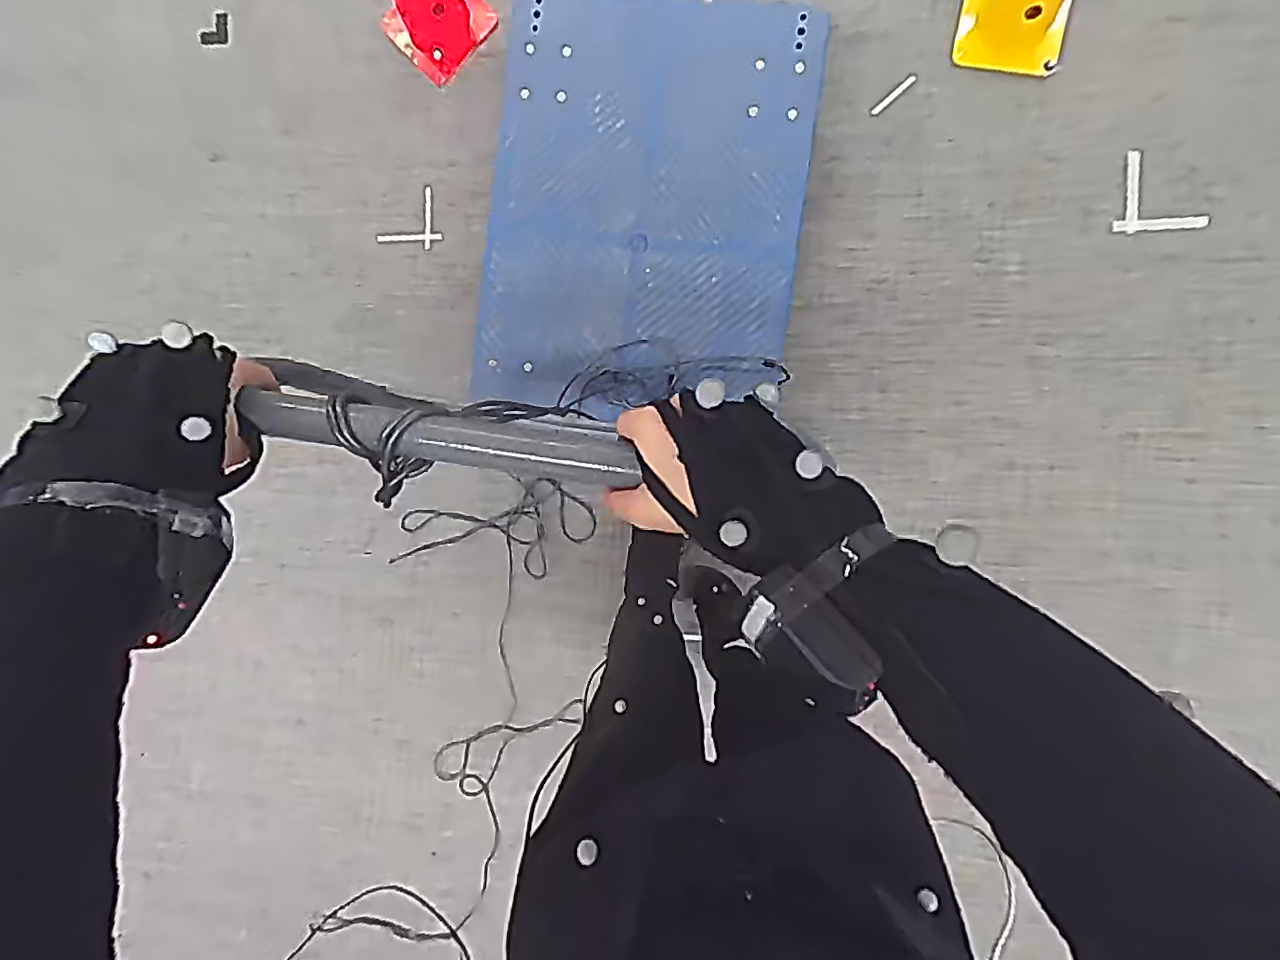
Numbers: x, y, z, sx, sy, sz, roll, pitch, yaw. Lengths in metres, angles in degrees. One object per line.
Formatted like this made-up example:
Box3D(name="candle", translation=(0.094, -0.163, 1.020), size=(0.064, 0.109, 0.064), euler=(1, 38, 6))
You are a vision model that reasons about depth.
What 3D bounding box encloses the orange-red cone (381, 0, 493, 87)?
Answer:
Box3D(name="orange-red cone", translation=(-0.457, -0.984, 1.012), size=(0.199, 0.360, 0.198), euler=(-43, 89, 4))
